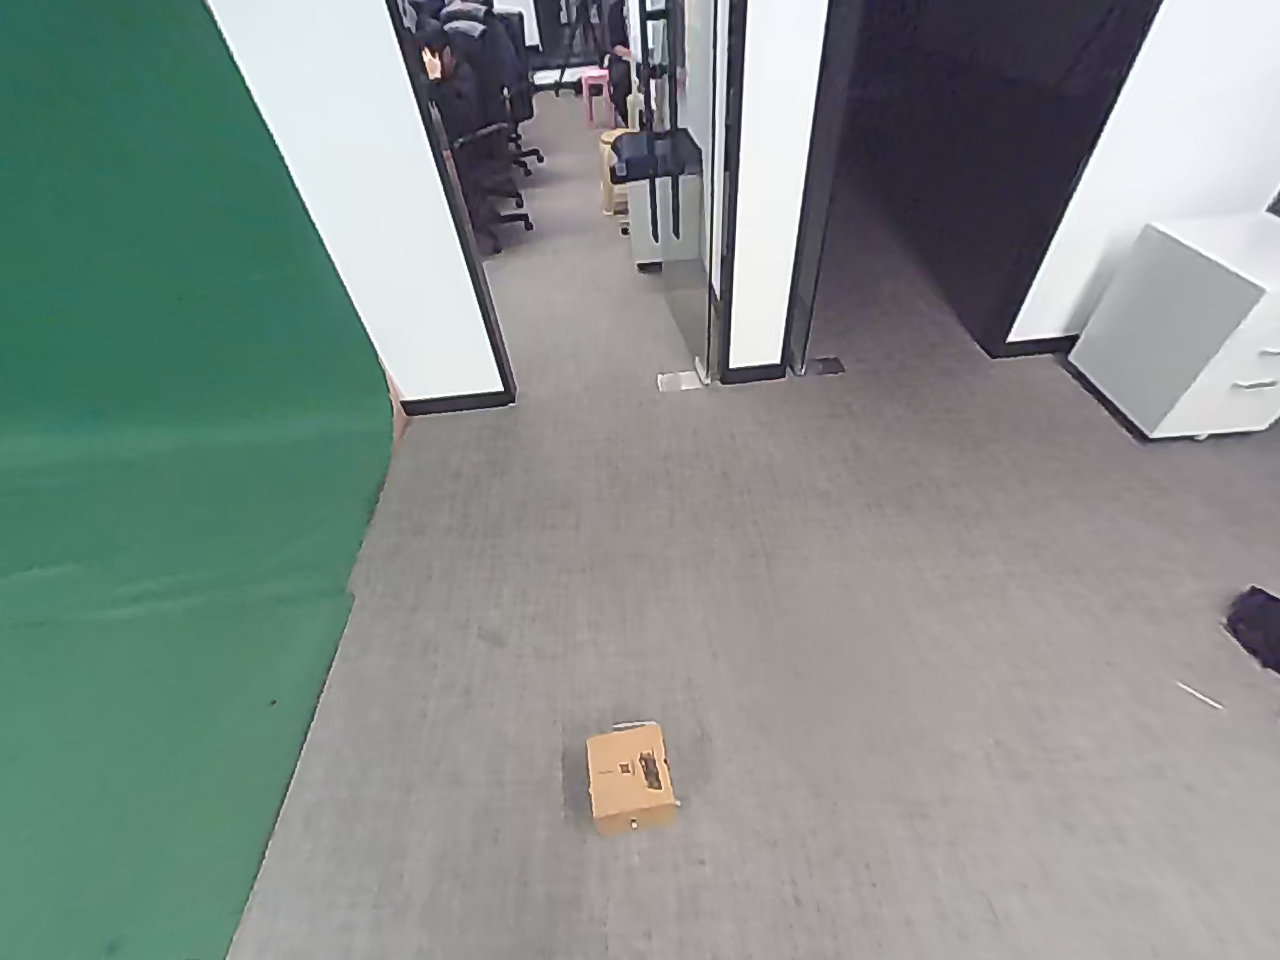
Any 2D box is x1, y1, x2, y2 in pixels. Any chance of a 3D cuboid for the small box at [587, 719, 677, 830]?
[{"bbox_3d":[-0.018,0.681,1.247,0.179,0.176,0.168,-11,46,-6],"label":"small box"}]
